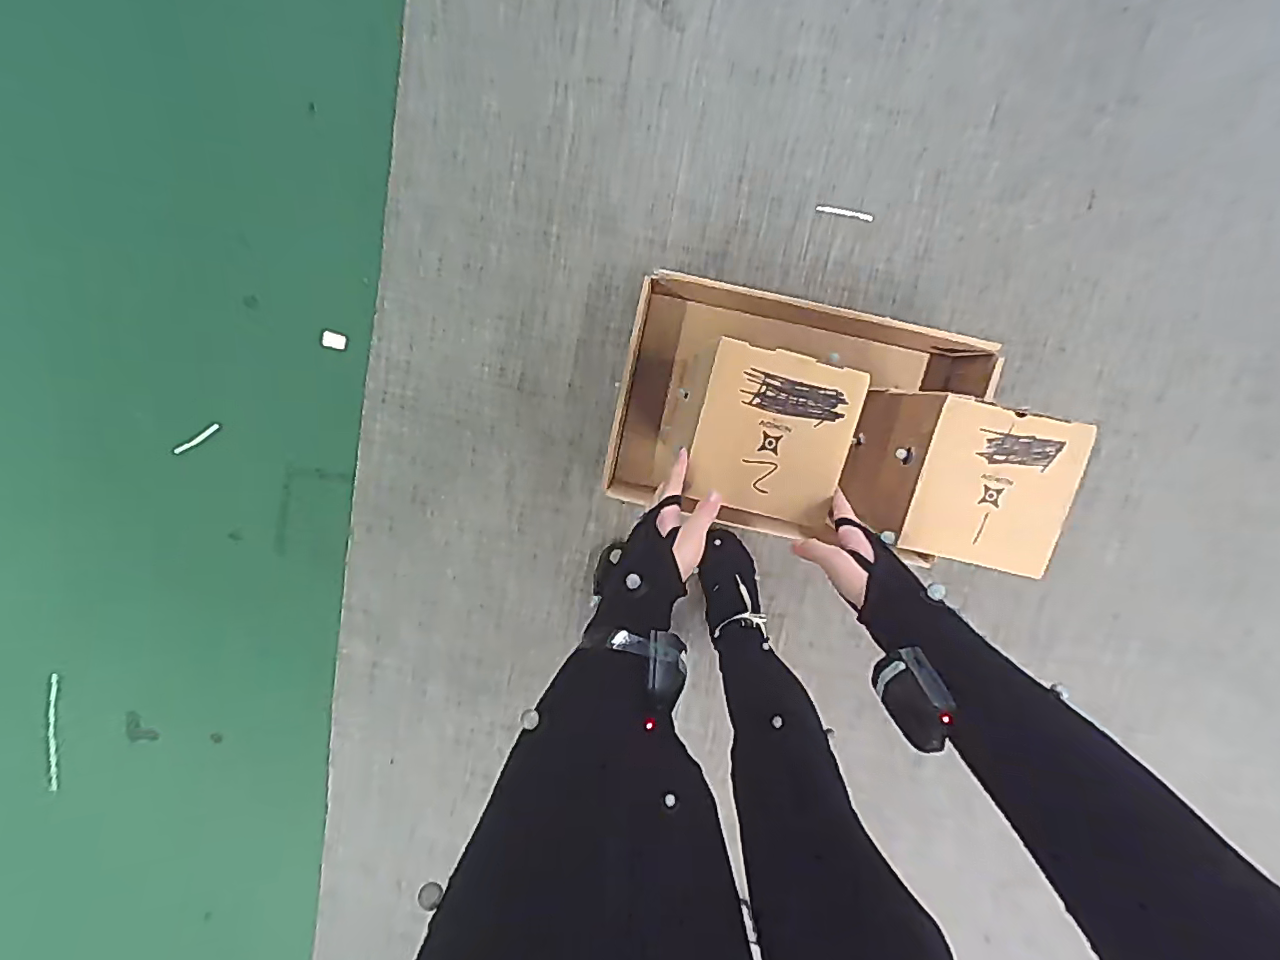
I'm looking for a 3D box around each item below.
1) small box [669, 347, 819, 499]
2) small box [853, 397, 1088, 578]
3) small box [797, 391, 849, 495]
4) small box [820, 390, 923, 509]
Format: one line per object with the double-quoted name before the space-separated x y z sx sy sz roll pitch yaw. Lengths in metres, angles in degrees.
"small box" 0.144 -0.090 0.826 0.168 0.176 0.179 16 99 -2
"small box" 0.389 -0.003 0.675 0.168 0.176 0.179 13 101 0
"small box" 0.403 -0.061 0.997 0.168 0.176 0.179 12 100 0
"small box" 0.398 -0.036 0.836 0.168 0.176 0.179 14 100 0
